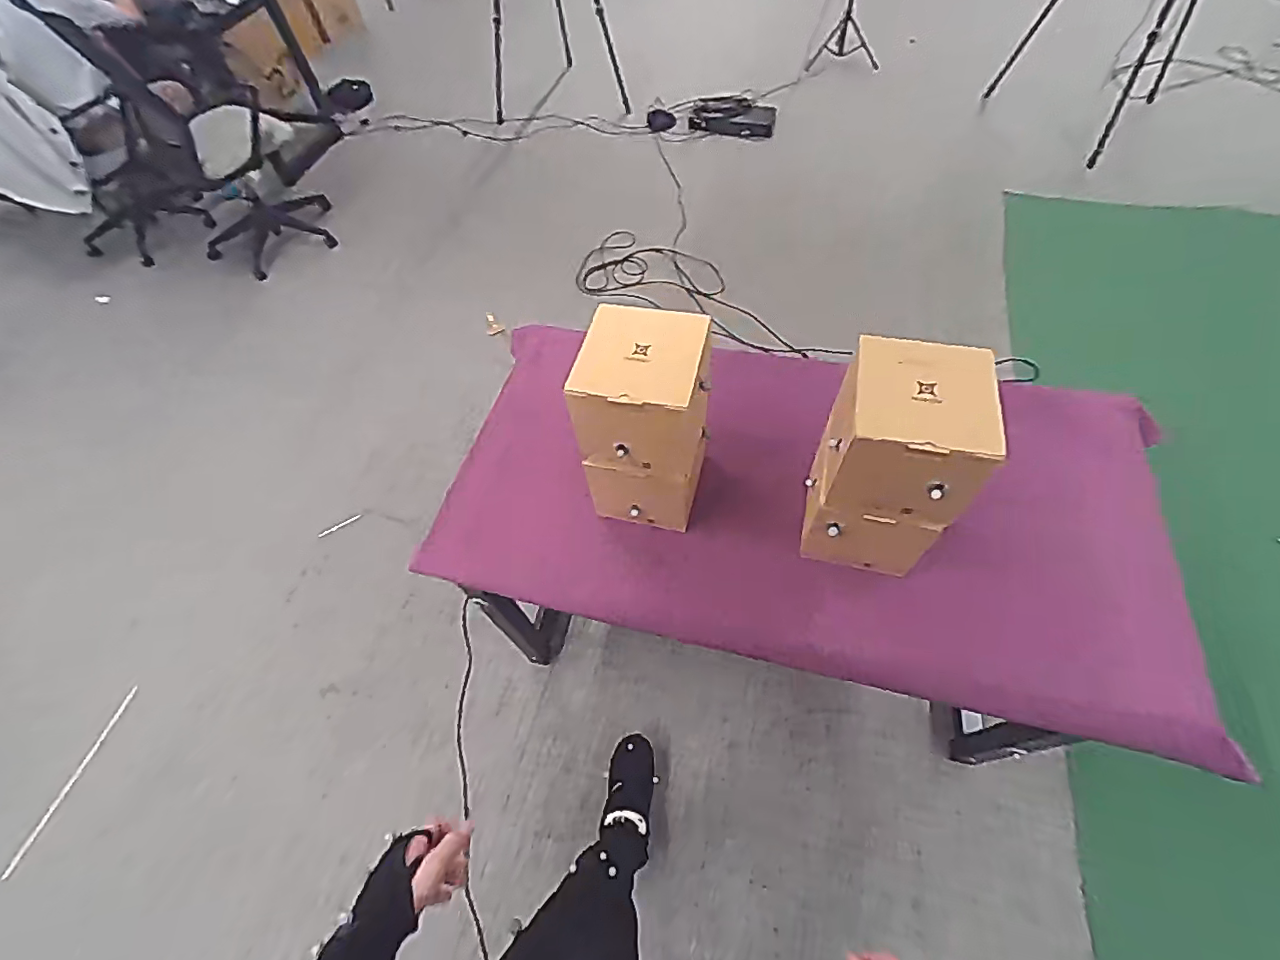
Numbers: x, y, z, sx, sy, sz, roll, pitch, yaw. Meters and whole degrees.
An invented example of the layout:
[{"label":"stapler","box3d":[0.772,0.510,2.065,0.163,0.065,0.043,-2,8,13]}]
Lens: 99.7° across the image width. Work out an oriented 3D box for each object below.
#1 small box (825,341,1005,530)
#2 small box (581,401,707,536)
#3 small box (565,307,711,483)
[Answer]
[{"label":"small box","box3d":[0.350,-0.054,0.718,0.168,0.176,0.179,11,58,10]},{"label":"small box","box3d":[0.013,-0.030,0.922,0.168,0.176,0.179,11,59,11]},{"label":"small box","box3d":[0.004,-0.121,0.787,0.168,0.176,0.179,10,59,10]}]
